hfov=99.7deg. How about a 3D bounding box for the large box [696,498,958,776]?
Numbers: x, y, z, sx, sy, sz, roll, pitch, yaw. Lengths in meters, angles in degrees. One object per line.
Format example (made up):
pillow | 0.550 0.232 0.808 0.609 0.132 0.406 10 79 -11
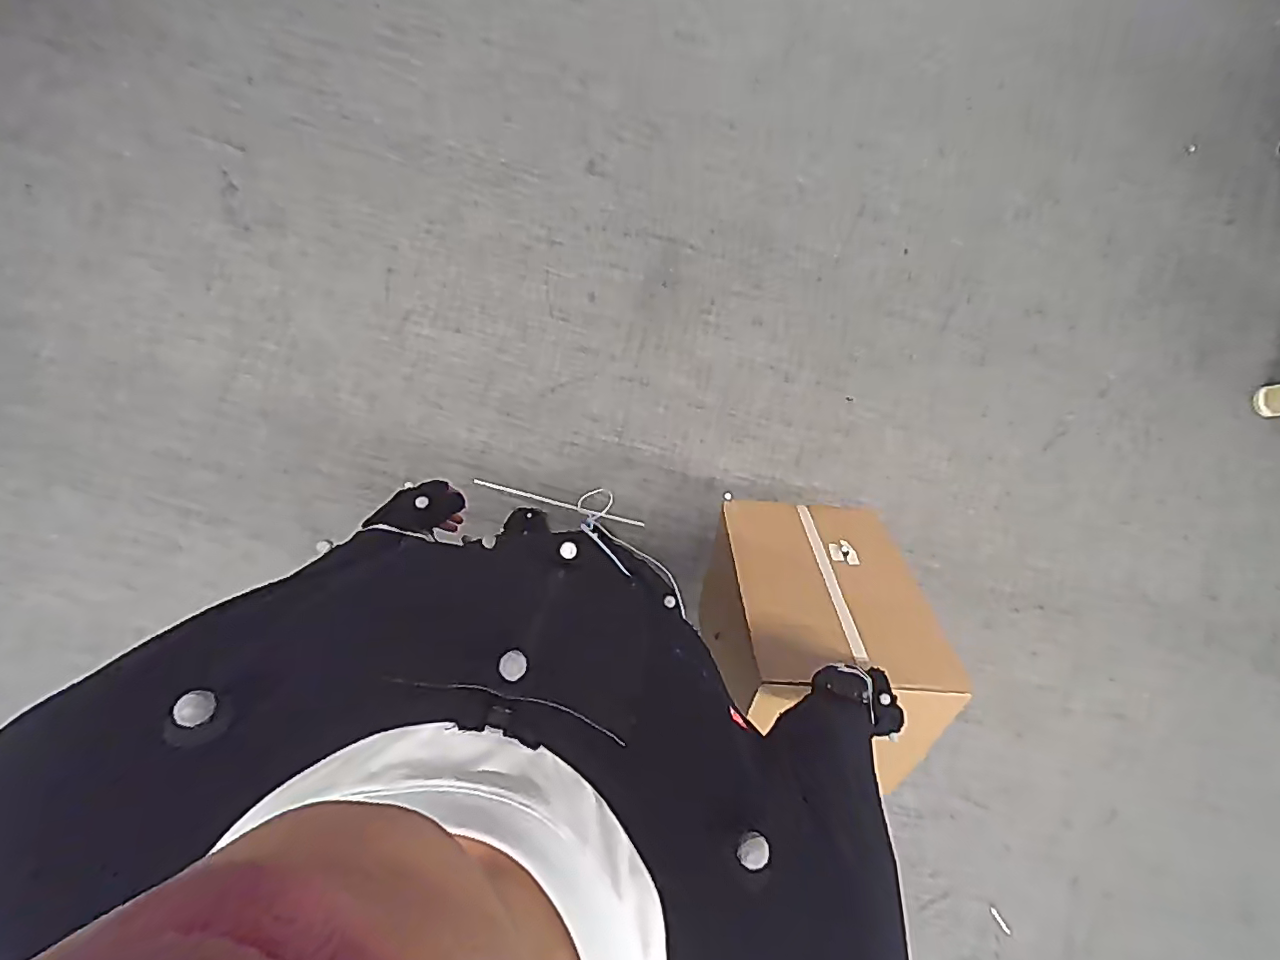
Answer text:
large box | 0.297 0.285 1.020 0.320 0.408 0.320 5 126 -5
